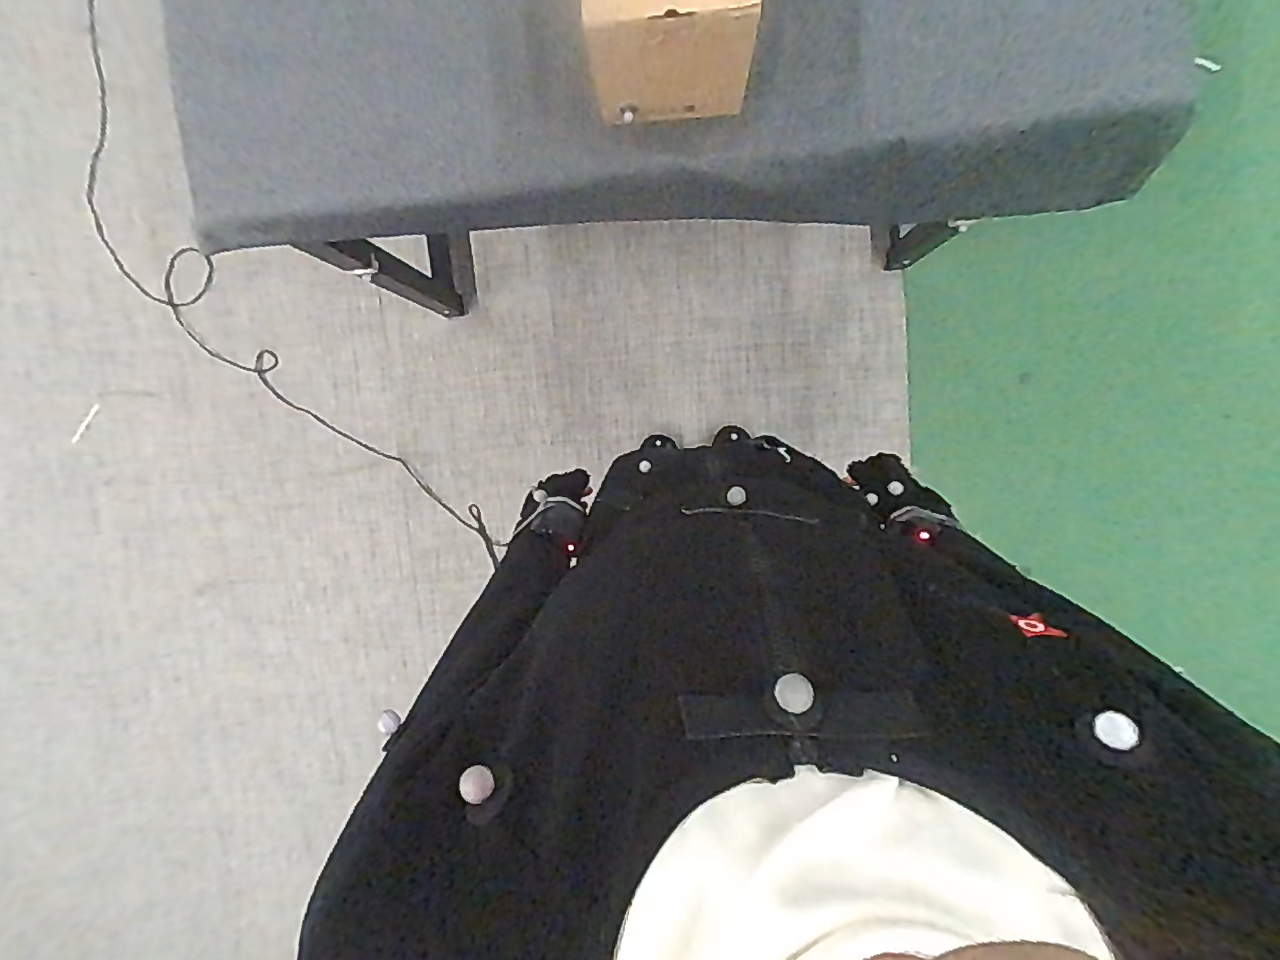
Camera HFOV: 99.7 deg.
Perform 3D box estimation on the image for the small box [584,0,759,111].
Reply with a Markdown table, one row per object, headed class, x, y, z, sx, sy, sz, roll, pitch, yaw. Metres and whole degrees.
| class | x | y | z | sx | sy | sz | roll | pitch | yaw |
| --- | --- | --- | --- | --- | --- | --- | --- | --- | --- |
| small box | 0.032 | -0.522 | 0.571 | 0.168 | 0.176 | 0.179 | -1 | 95 | 3 |
